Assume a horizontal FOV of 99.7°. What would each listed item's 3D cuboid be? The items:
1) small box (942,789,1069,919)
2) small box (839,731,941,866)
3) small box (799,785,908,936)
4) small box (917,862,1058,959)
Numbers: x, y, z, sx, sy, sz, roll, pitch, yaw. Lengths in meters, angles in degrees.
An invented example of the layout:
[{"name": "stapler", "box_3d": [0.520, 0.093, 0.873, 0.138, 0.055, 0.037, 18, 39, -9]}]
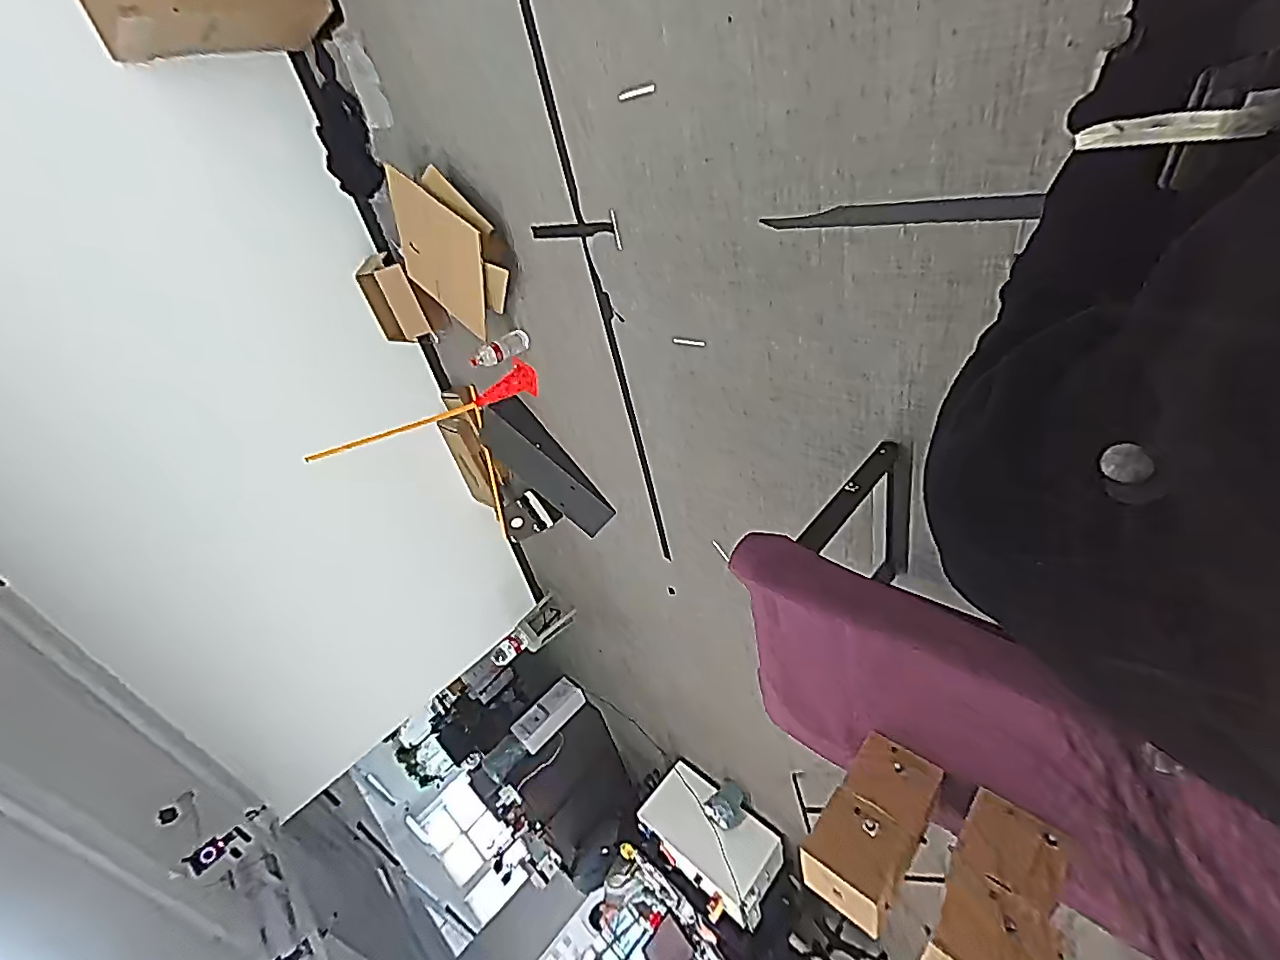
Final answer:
[{"name": "small box", "box_3d": [0.739, 0.775, 1.094, 0.168, 0.176, 0.179, 20, 136, 41]}, {"name": "small box", "box_3d": [0.578, 0.731, 1.255, 0.168, 0.176, 0.179, 20, 135, 40]}, {"name": "small box", "box_3d": [0.466, 0.818, 1.176, 0.168, 0.176, 0.179, 17, 133, 42]}, {"name": "small box", "box_3d": [0.640, 0.867, 1.002, 0.168, 0.176, 0.179, 22, 136, 39]}]
